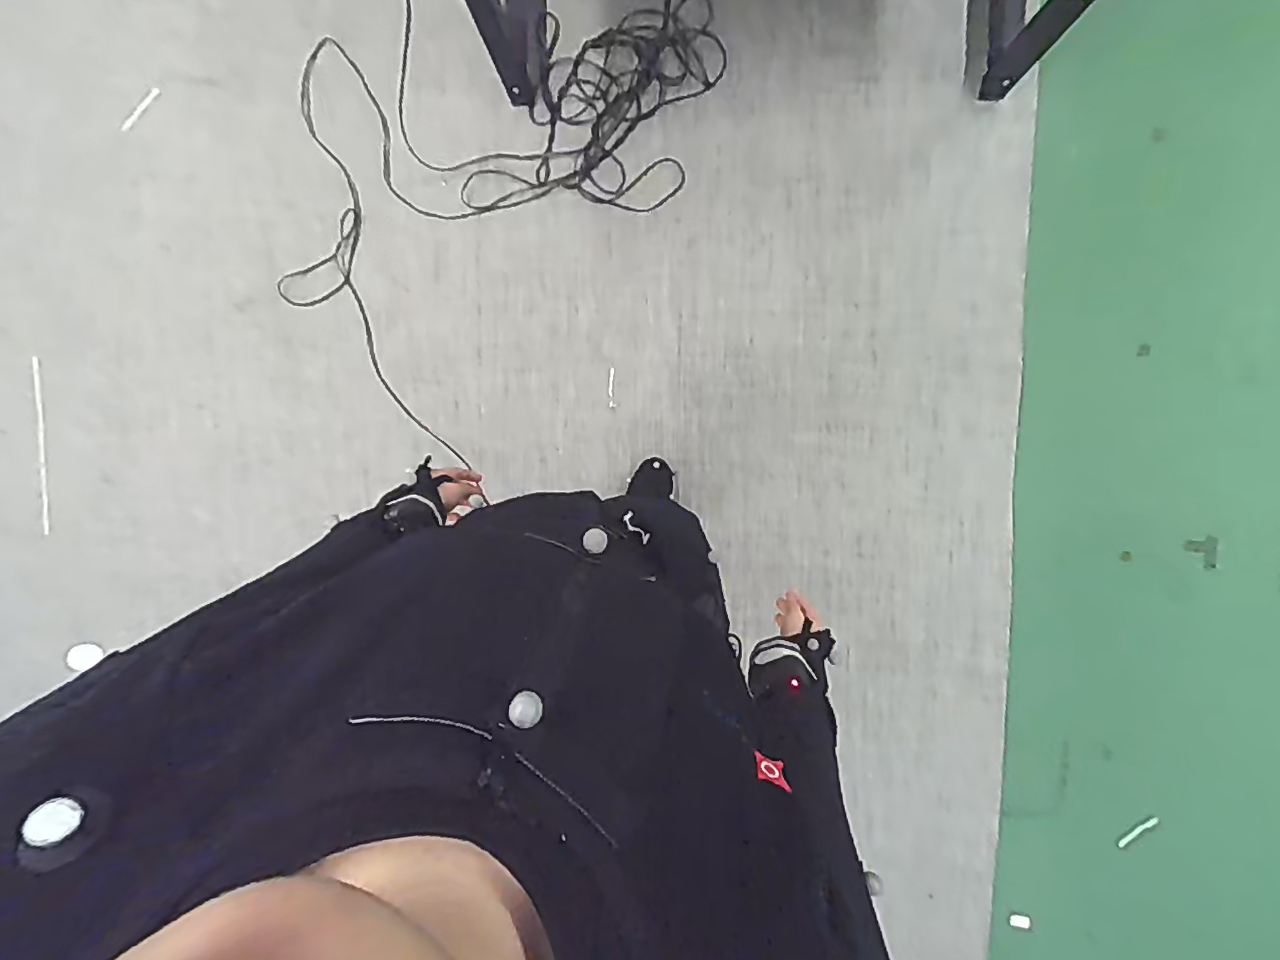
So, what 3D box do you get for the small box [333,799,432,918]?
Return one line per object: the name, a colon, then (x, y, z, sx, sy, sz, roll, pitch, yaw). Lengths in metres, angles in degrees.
small box: (-0.640, 0.942, 1.362, 0.168, 0.176, 0.179, 6, 94, 3)
